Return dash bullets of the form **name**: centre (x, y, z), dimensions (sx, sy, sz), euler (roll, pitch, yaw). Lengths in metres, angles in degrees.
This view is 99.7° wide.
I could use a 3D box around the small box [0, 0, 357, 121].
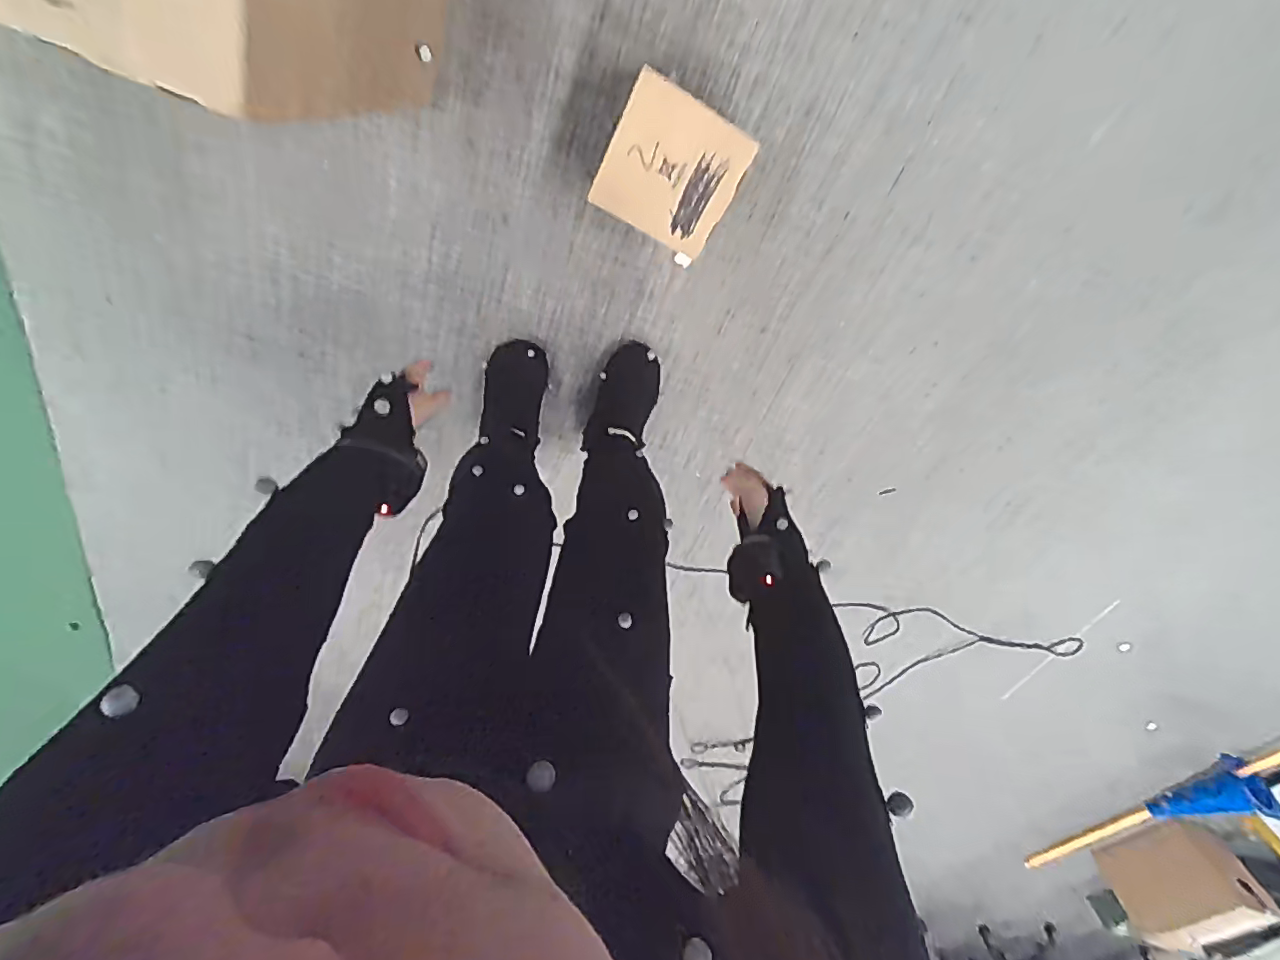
- **small box**: centre (-0.329, -0.397, 0.400), dimensions (0.168, 0.176, 0.179), euler (18, 122, -12)
